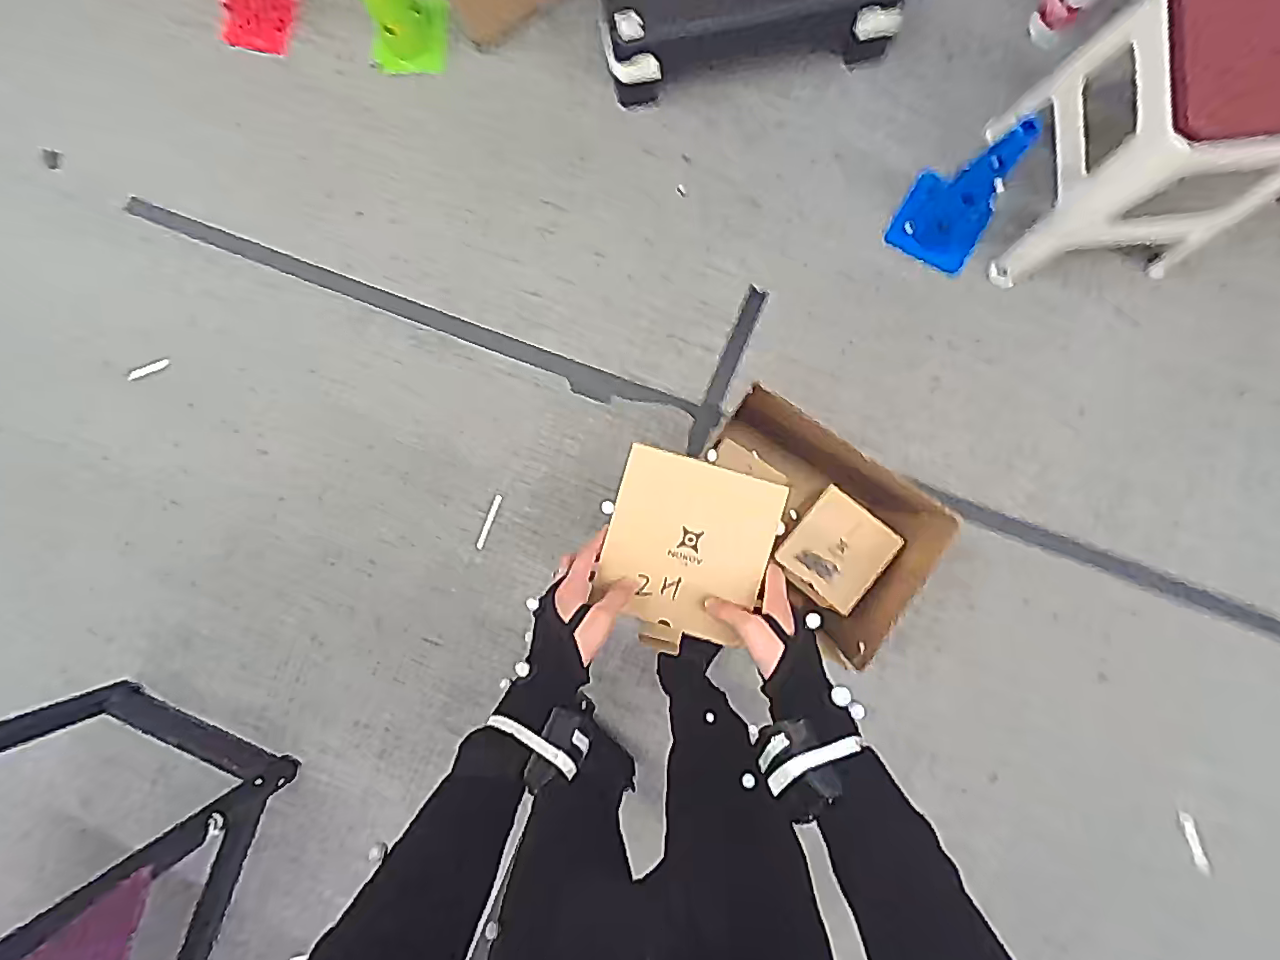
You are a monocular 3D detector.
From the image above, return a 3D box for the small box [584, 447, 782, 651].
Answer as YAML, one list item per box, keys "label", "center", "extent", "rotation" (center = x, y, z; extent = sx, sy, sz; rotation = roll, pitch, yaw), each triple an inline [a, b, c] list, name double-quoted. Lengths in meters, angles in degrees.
- label: "small box"
  center: [0.045, 0.066, 0.629]
  extent: [0.168, 0.176, 0.179]
  rotation: [16, 94, 2]
